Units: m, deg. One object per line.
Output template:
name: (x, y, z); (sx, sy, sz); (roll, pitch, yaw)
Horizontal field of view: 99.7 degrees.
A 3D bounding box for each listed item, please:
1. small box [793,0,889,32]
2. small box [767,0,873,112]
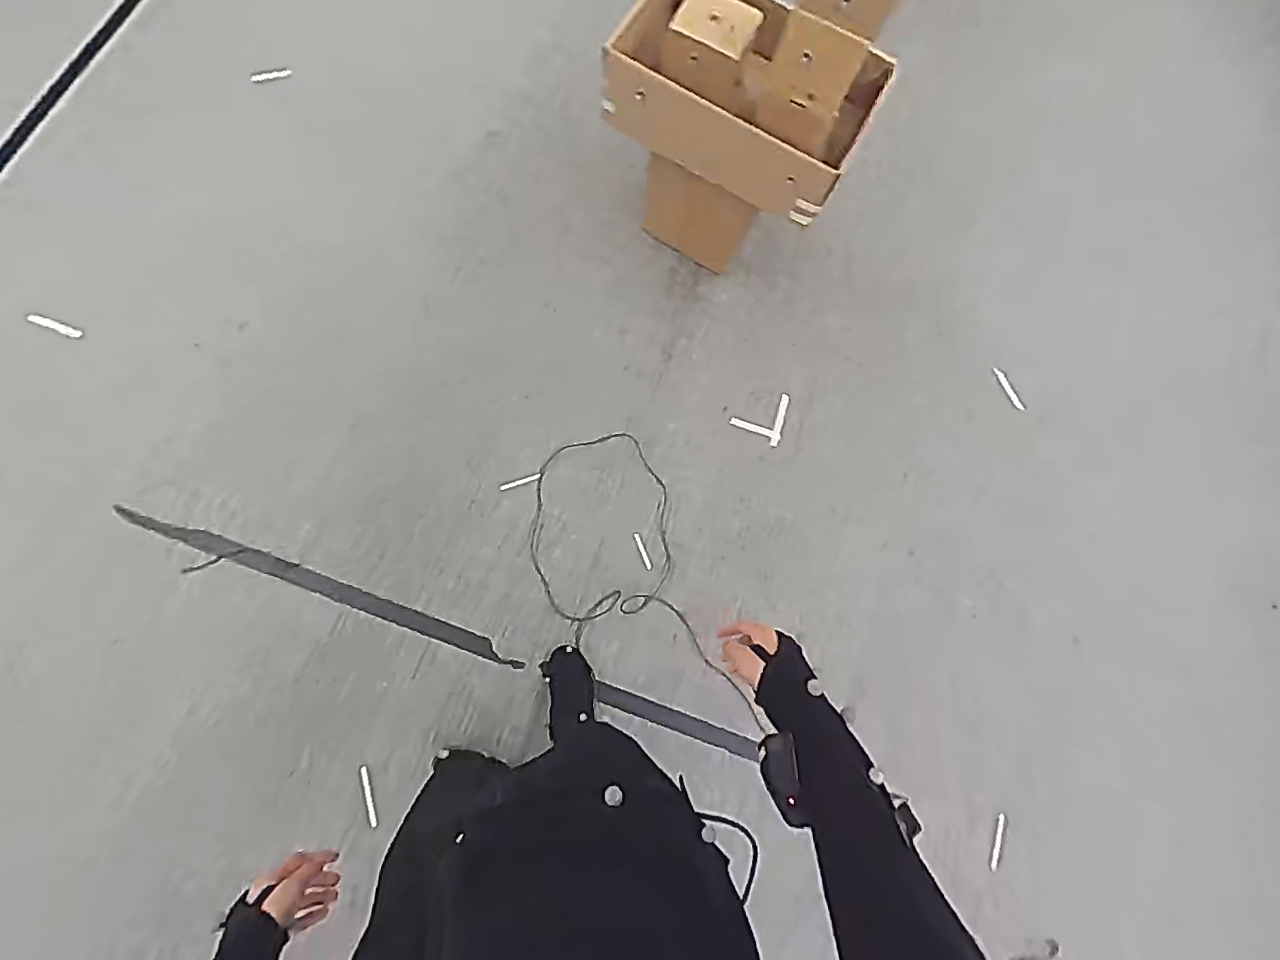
small box: (0.408, -0.974, 0.985); (0.179, 0.176, 0.168); (25, 74, 0)
small box: (0.388, -0.932, 1.142); (0.168, 0.176, 0.179); (27, 74, 1)
